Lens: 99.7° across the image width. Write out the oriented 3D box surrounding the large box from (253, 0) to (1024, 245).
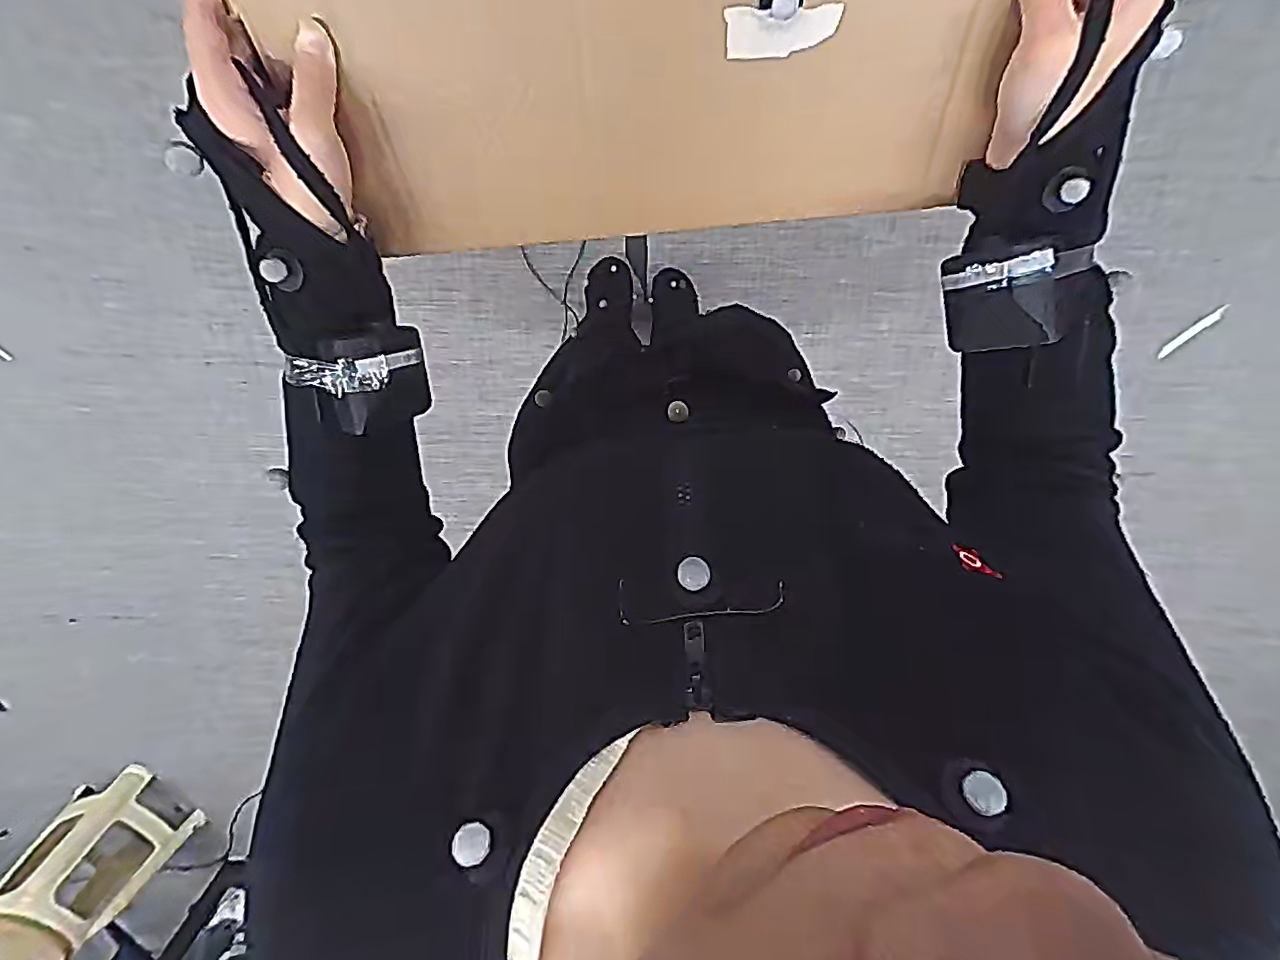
[{"bbox_3d":[-0.008,-0.388,0.344,0.408,0.320,0.320,-5,139,2],"label":"large box"}]
